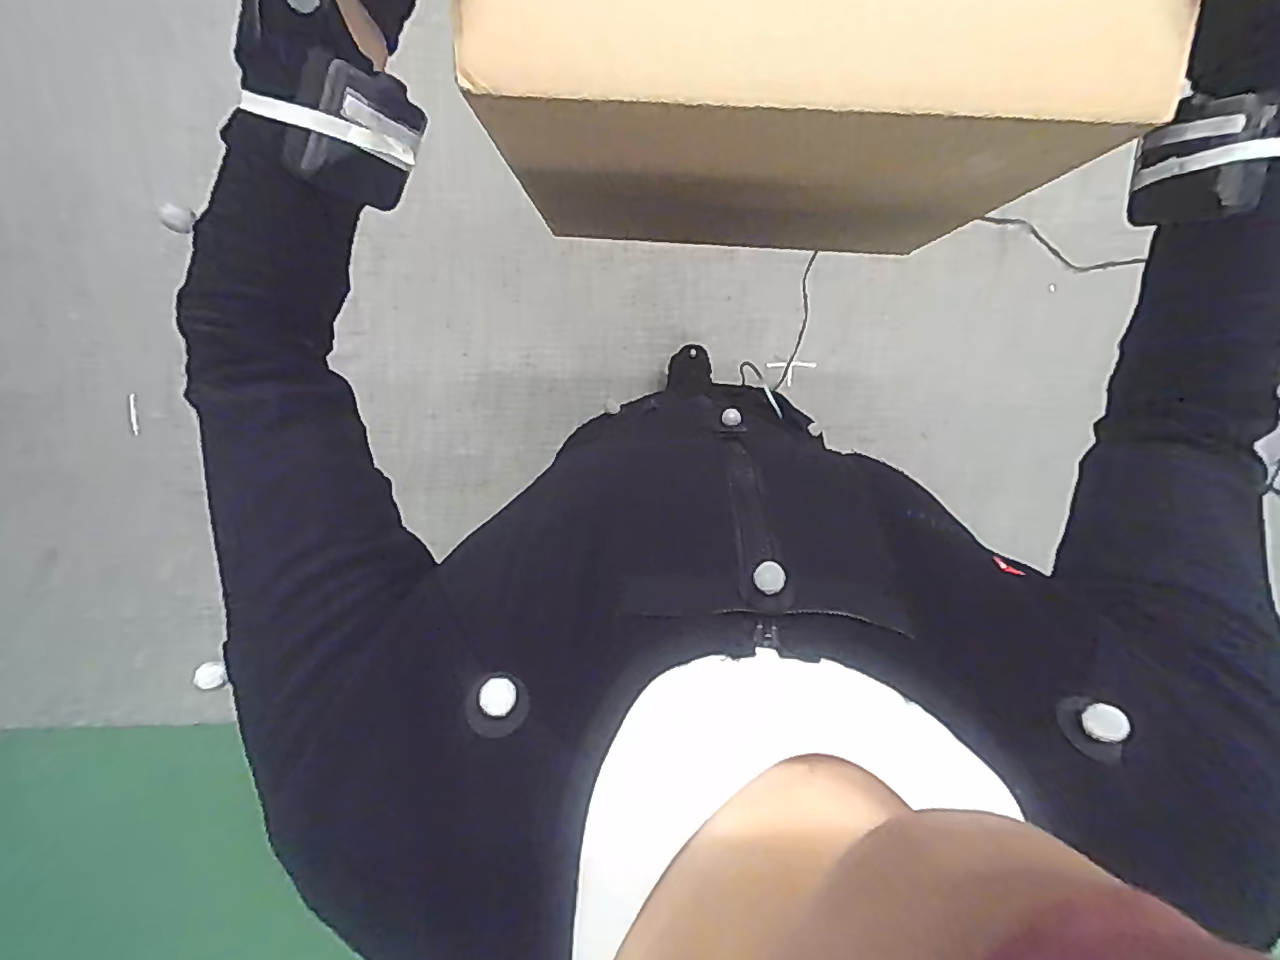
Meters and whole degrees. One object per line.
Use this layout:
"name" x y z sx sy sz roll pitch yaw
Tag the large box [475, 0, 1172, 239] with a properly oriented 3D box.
"large box" 0.107 -0.399 0.438 0.408 0.320 0.320 3 101 1
